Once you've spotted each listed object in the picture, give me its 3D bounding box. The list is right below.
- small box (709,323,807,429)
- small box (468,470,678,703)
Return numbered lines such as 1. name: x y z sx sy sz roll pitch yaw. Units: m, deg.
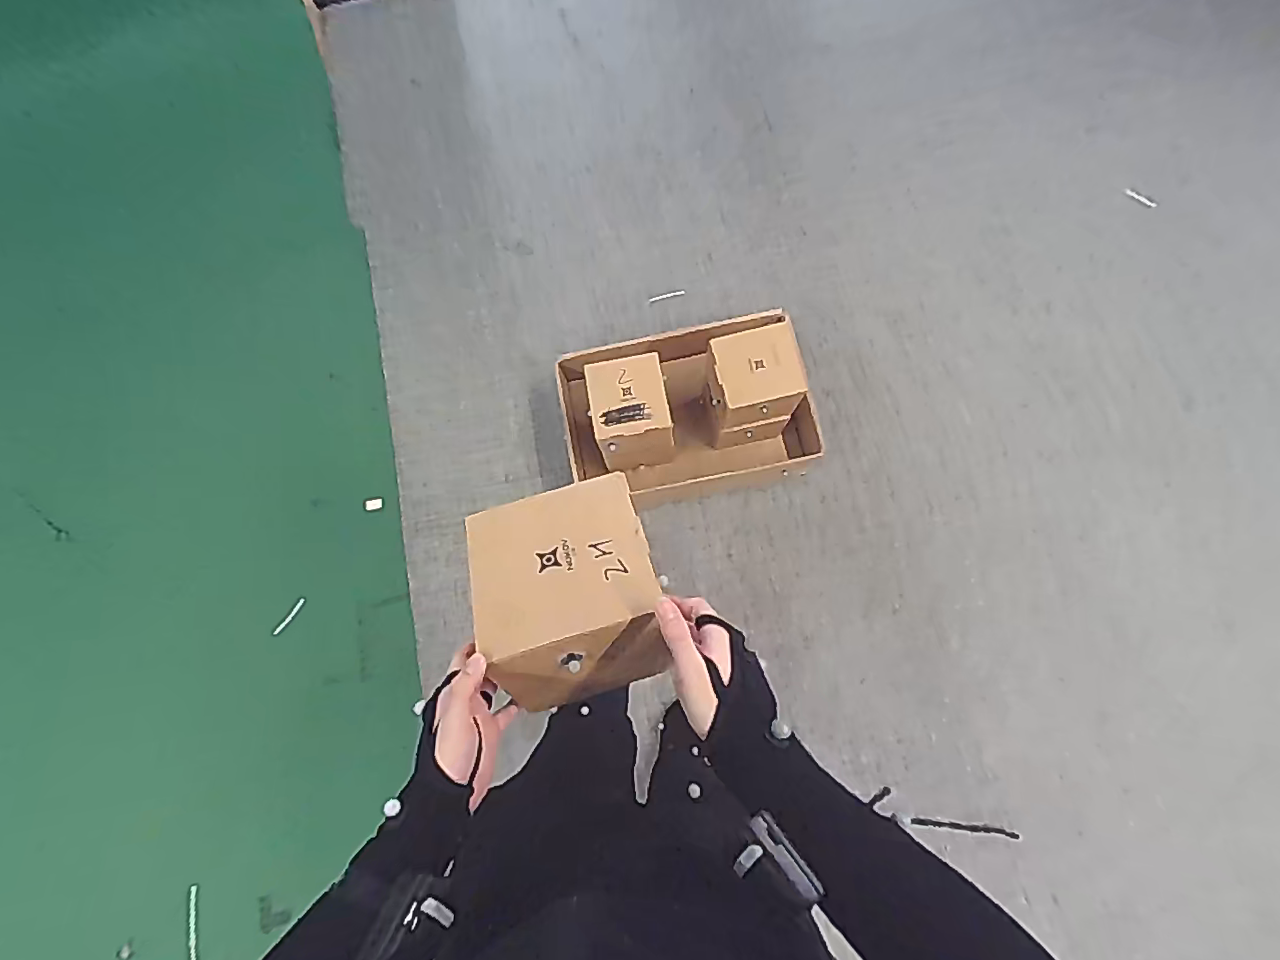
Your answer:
1. small box: 0.257 -0.227 1.229 0.179 0.176 0.168 -13 79 1
2. small box: -0.068 0.121 0.584 0.179 0.176 0.168 -16 53 -3
